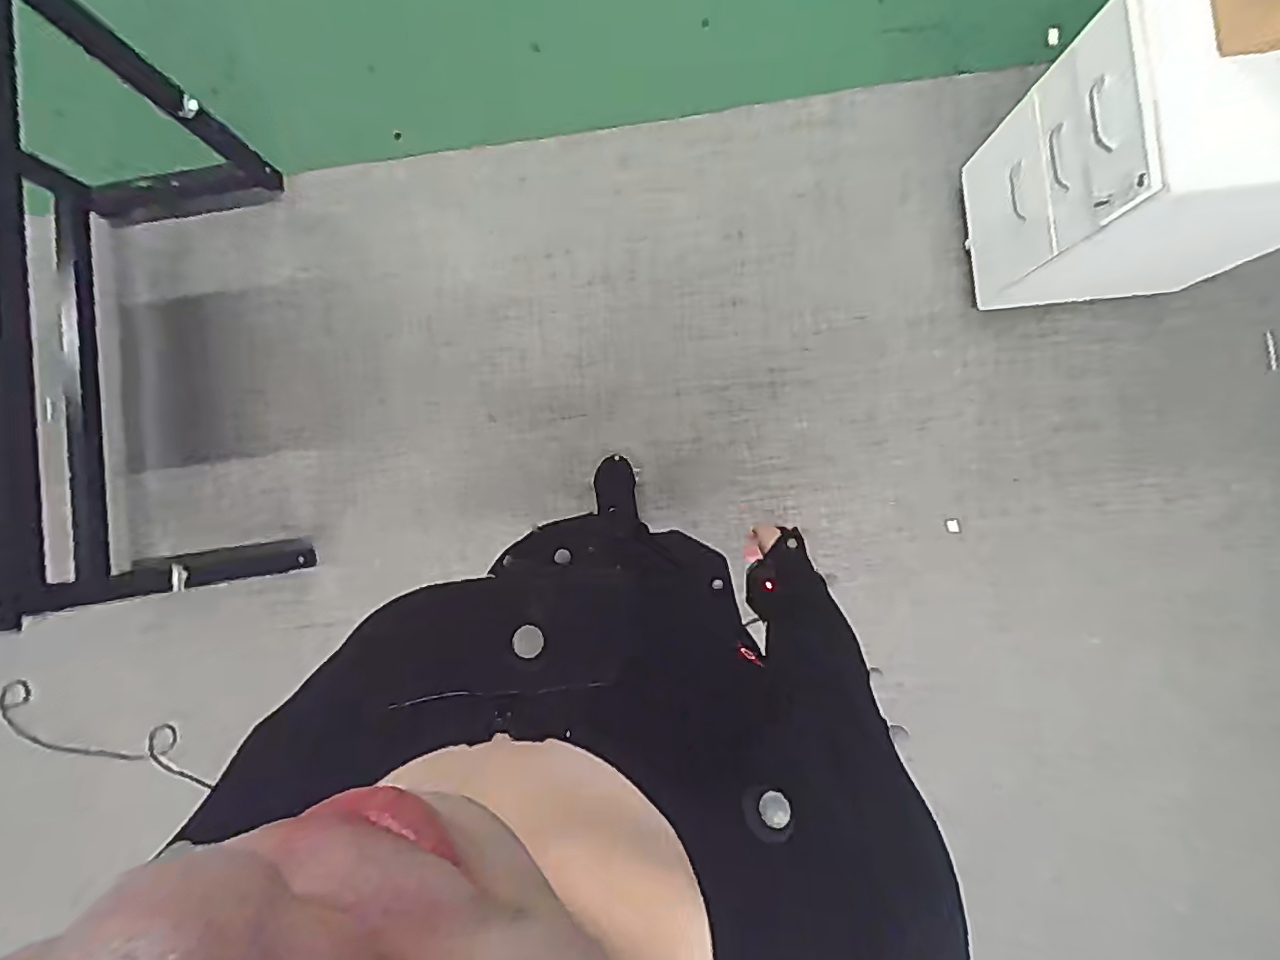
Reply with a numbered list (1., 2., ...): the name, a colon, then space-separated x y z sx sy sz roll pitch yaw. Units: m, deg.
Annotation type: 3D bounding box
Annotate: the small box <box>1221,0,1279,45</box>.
1. small box: 1.021 -0.801 0.800 0.168 0.176 0.179 -6 88 3
